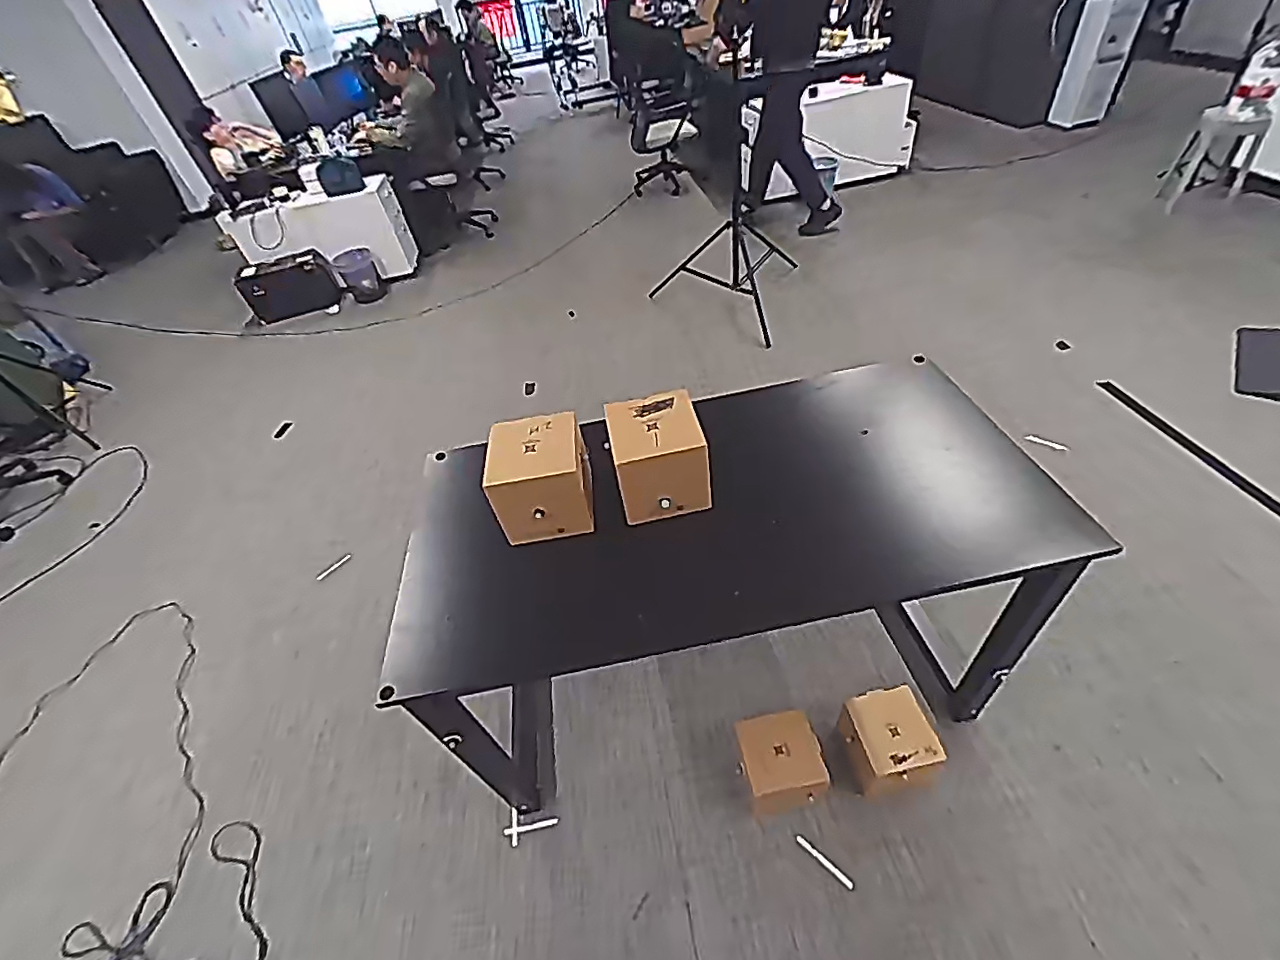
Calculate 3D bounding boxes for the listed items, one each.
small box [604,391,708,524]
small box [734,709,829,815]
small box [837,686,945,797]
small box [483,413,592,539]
[{"bbox_3d":[0.031,-0.043,1.045,0.168,0.176,0.179,-12,45,-1],"label":"small box"},{"bbox_3d":[0.333,0.681,1.301,0.179,0.176,0.168,-13,43,0],"label":"small box"},{"bbox_3d":[0.590,0.628,1.299,0.168,0.176,0.179,-13,44,-1],"label":"small box"},{"bbox_3d":[-0.190,0.000,1.046,0.168,0.176,0.179,-9,44,1],"label":"small box"}]
